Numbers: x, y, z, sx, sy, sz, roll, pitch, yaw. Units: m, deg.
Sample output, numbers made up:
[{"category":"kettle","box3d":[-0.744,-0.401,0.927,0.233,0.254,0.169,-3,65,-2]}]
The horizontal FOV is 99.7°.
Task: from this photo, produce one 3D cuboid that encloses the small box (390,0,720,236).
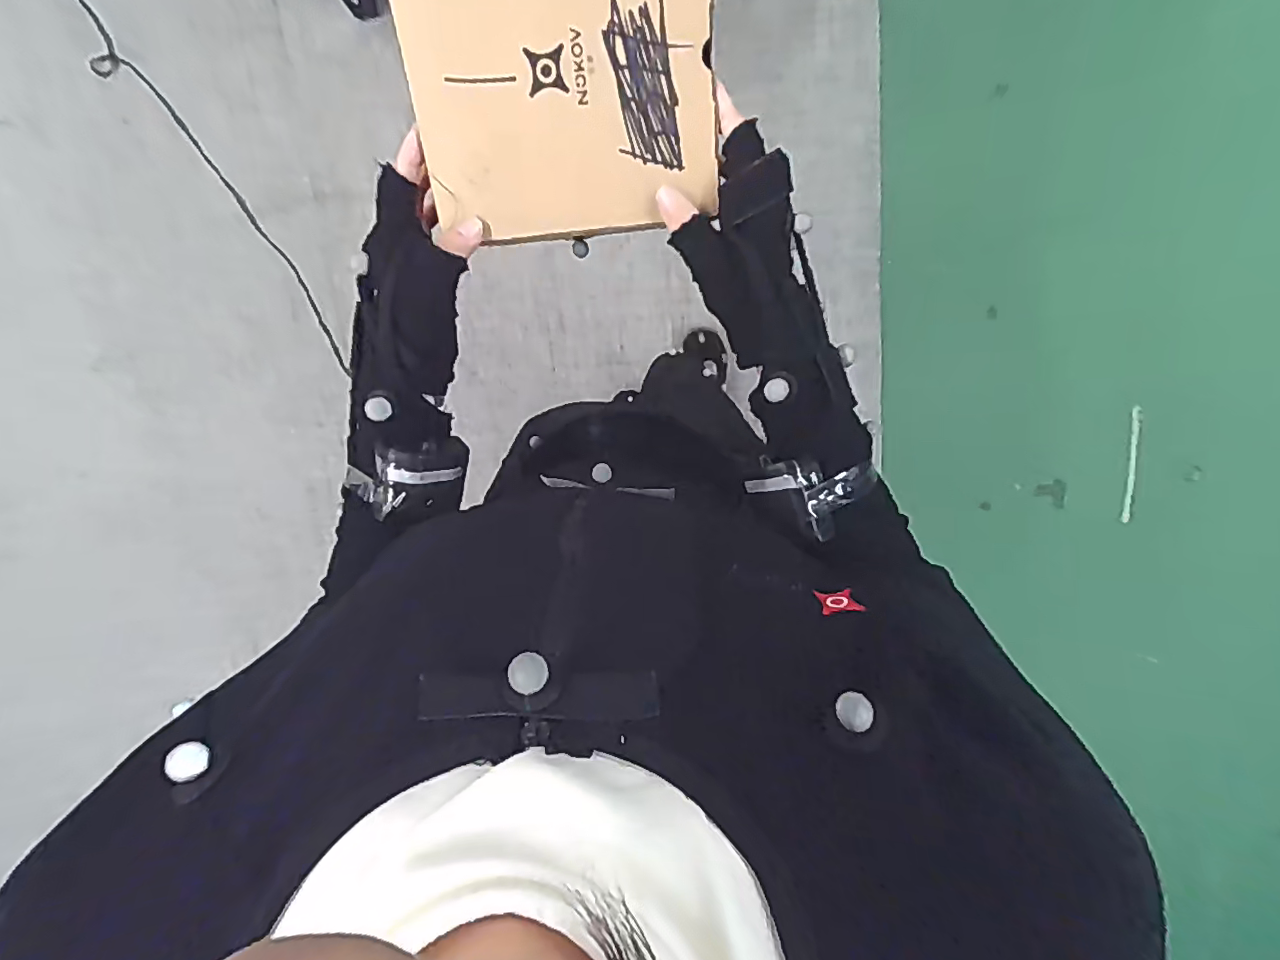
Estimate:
[{"category":"small box","box3d":[-0.045,-0.269,0.375,0.179,0.176,0.168,-5,114,3]}]
